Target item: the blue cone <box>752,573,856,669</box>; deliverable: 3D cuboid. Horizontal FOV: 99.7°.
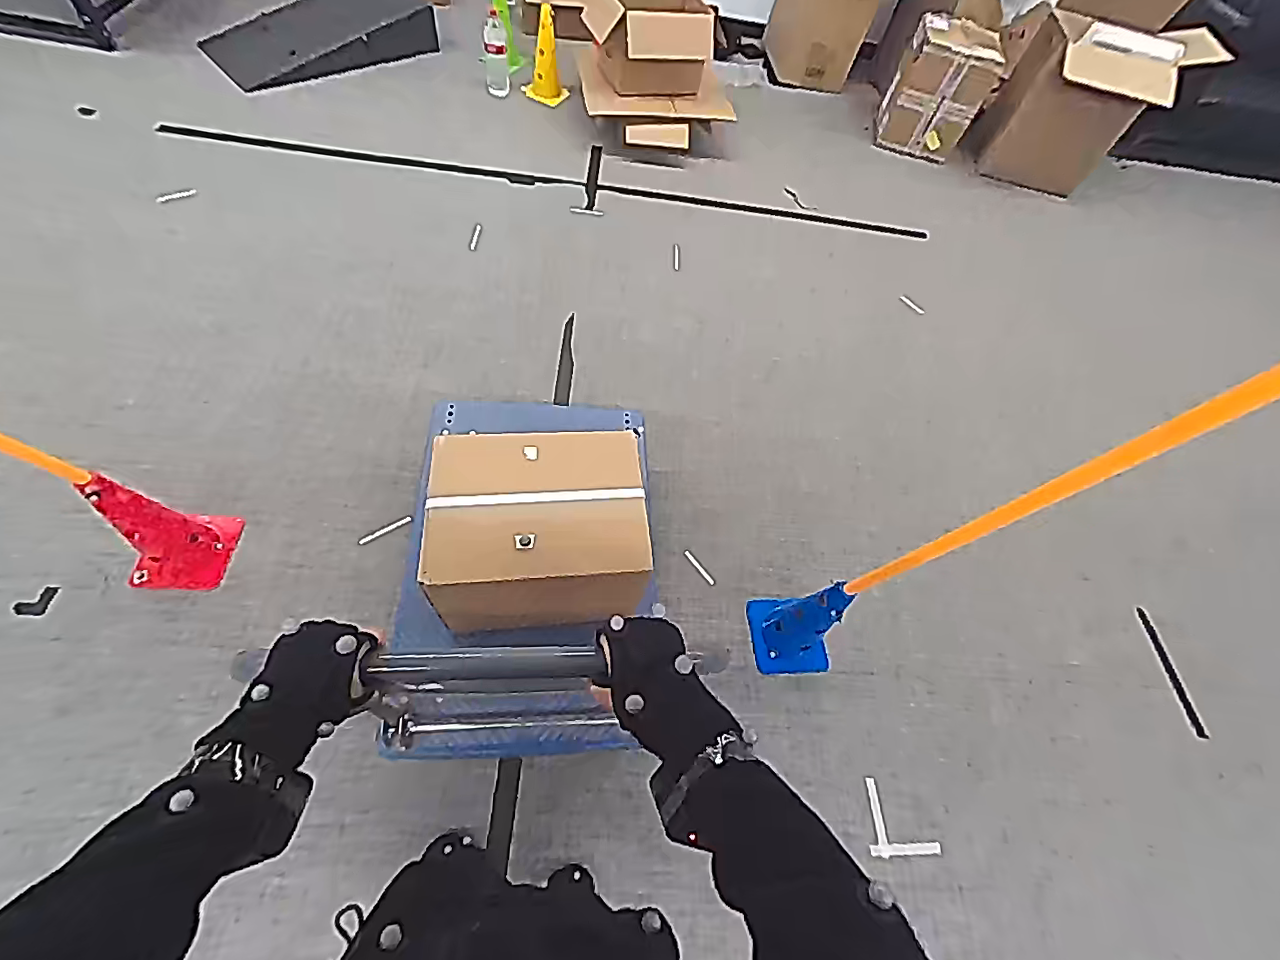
[{"bbox_3d":[0.426,0.324,1.317,0.193,0.380,0.192,2,58,-9],"label":"blue cone"}]
